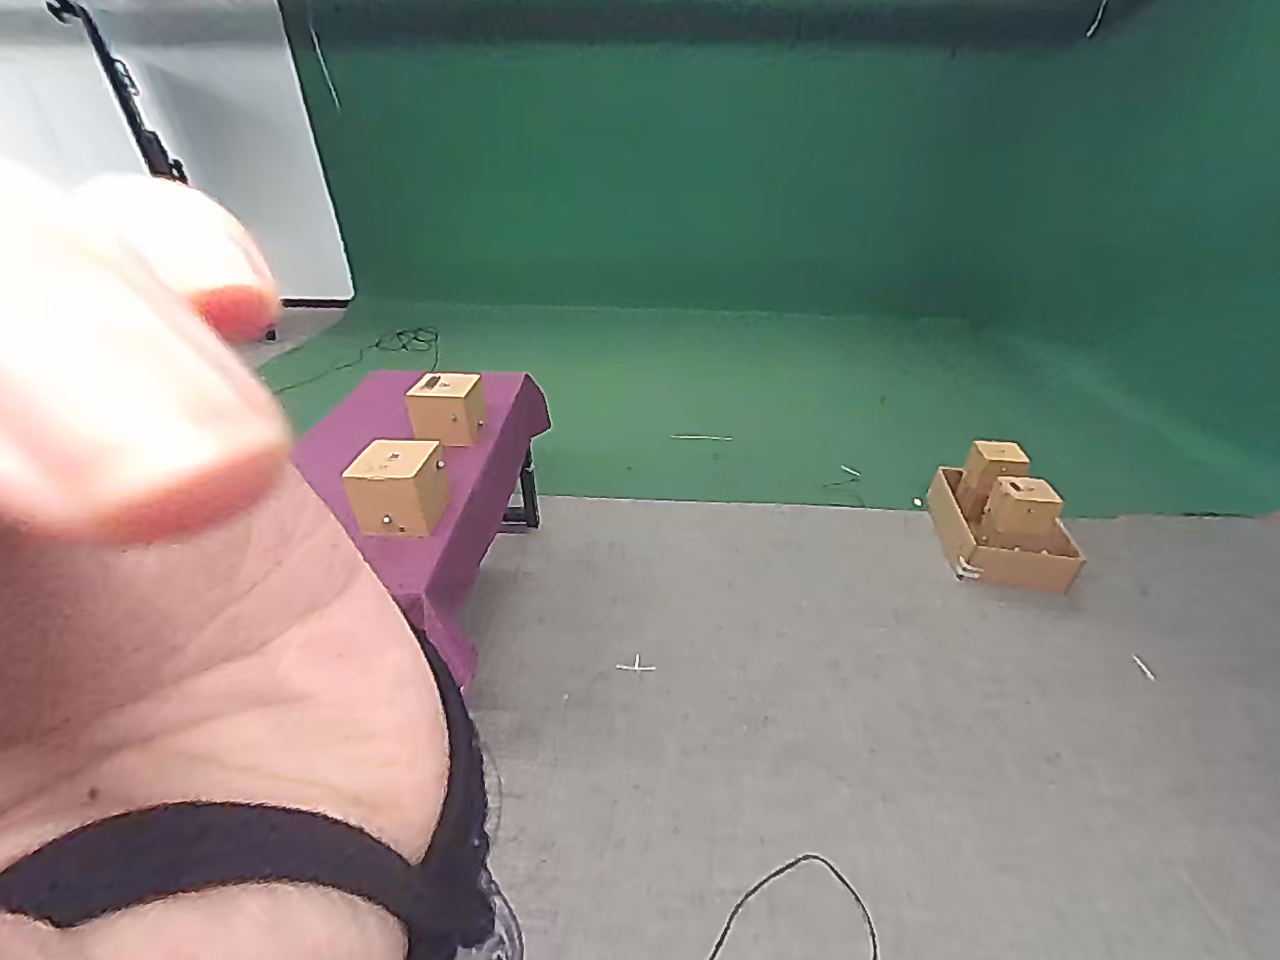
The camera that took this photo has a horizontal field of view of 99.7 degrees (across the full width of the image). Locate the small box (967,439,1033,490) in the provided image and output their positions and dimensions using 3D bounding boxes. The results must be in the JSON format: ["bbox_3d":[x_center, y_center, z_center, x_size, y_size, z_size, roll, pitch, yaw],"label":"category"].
[{"bbox_3d":[1.578,-0.065,2.381,0.179,0.176,0.168,5,34,11],"label":"small box"}]

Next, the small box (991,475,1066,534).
[{"bbox_3d":[1.516,0.097,2.127,0.179,0.176,0.168,5,33,8],"label":"small box"}]

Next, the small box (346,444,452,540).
[{"bbox_3d":[-0.575,0.026,1.318,0.168,0.176,0.179,1,33,3],"label":"small box"}]
